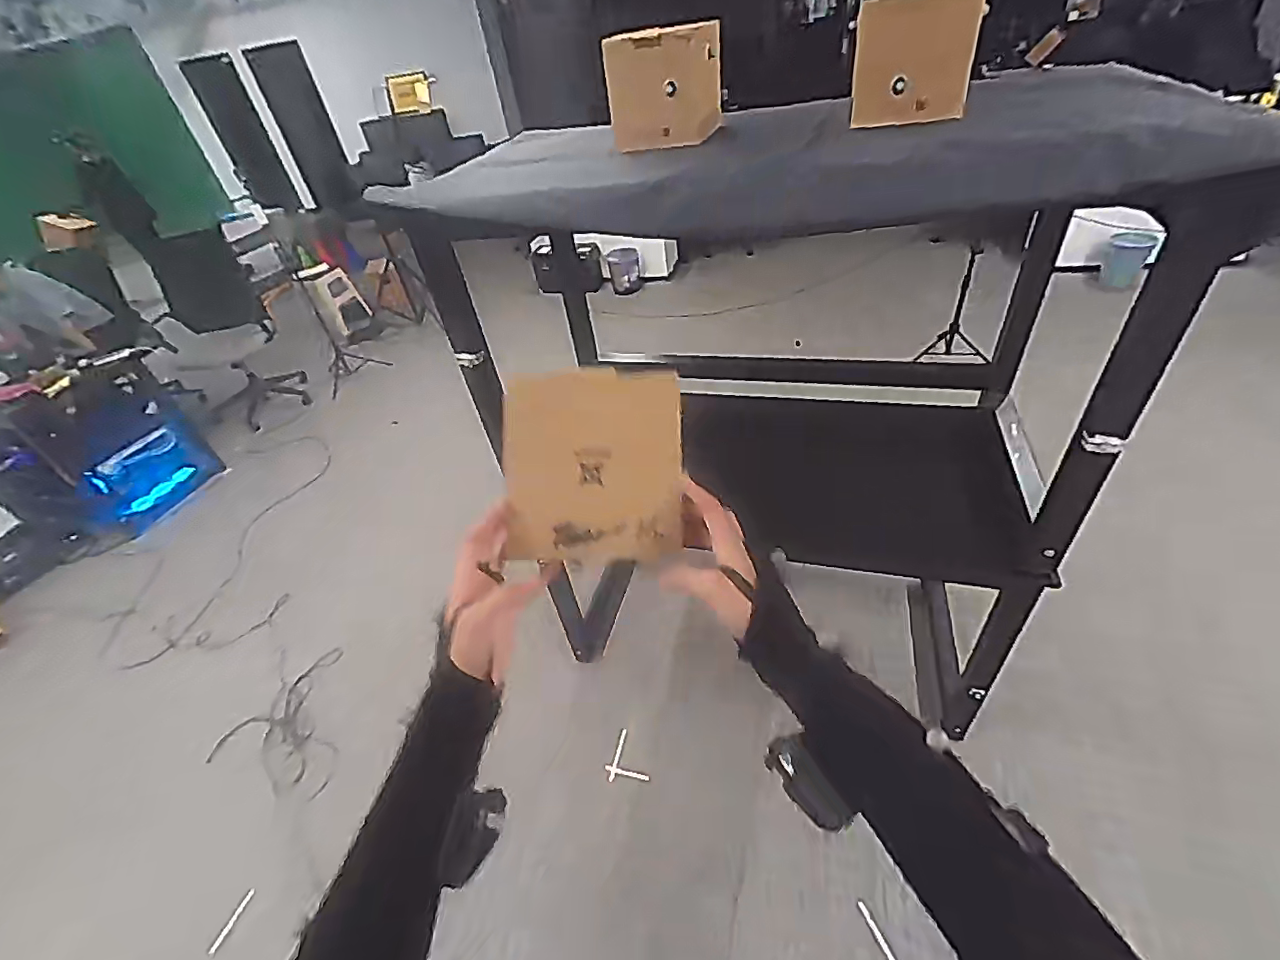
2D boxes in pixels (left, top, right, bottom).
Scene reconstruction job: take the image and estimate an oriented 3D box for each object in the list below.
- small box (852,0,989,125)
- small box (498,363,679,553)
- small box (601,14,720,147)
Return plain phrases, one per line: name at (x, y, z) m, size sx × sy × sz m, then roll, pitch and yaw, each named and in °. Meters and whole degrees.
small box at (0.437, -0.685, 0.865) m, size 0.168 × 0.176 × 0.179 m, roll 6°, pitch 44°, yaw 18°
small box at (-0.046, -0.014, 0.573) m, size 0.168 × 0.176 × 0.179 m, roll -1°, pitch 86°, yaw 1°
small box at (0.049, -0.718, 0.982) m, size 0.168 × 0.176 × 0.179 m, roll 8°, pitch 44°, yaw 19°
